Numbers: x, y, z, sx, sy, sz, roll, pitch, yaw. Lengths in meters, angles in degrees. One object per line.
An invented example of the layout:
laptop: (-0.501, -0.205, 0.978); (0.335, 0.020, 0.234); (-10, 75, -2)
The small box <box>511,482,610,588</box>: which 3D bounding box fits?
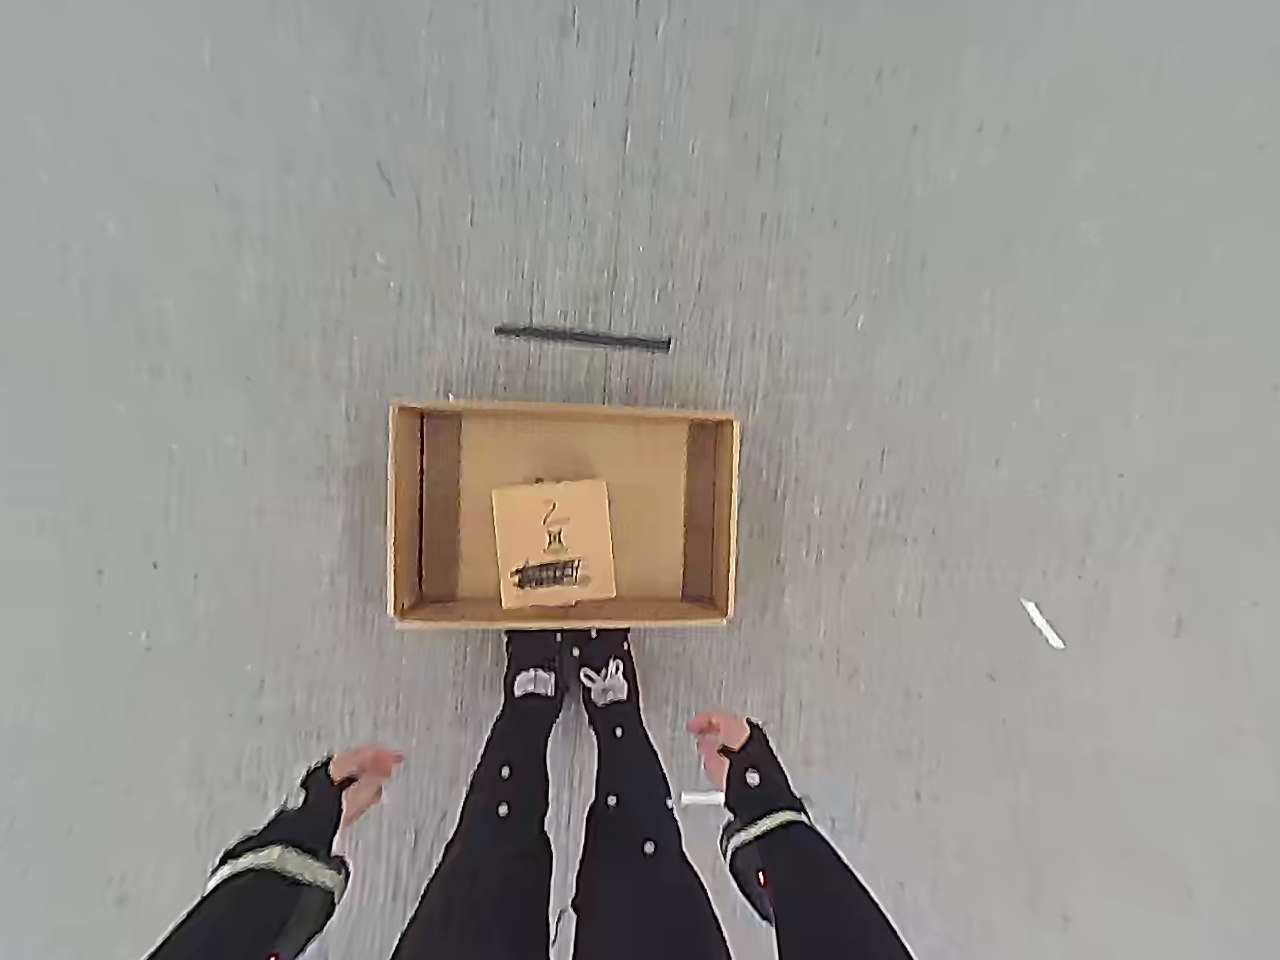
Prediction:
small box: (-0.149, 0.095, 1.028); (0.168, 0.176, 0.179); (-4, 93, -6)
